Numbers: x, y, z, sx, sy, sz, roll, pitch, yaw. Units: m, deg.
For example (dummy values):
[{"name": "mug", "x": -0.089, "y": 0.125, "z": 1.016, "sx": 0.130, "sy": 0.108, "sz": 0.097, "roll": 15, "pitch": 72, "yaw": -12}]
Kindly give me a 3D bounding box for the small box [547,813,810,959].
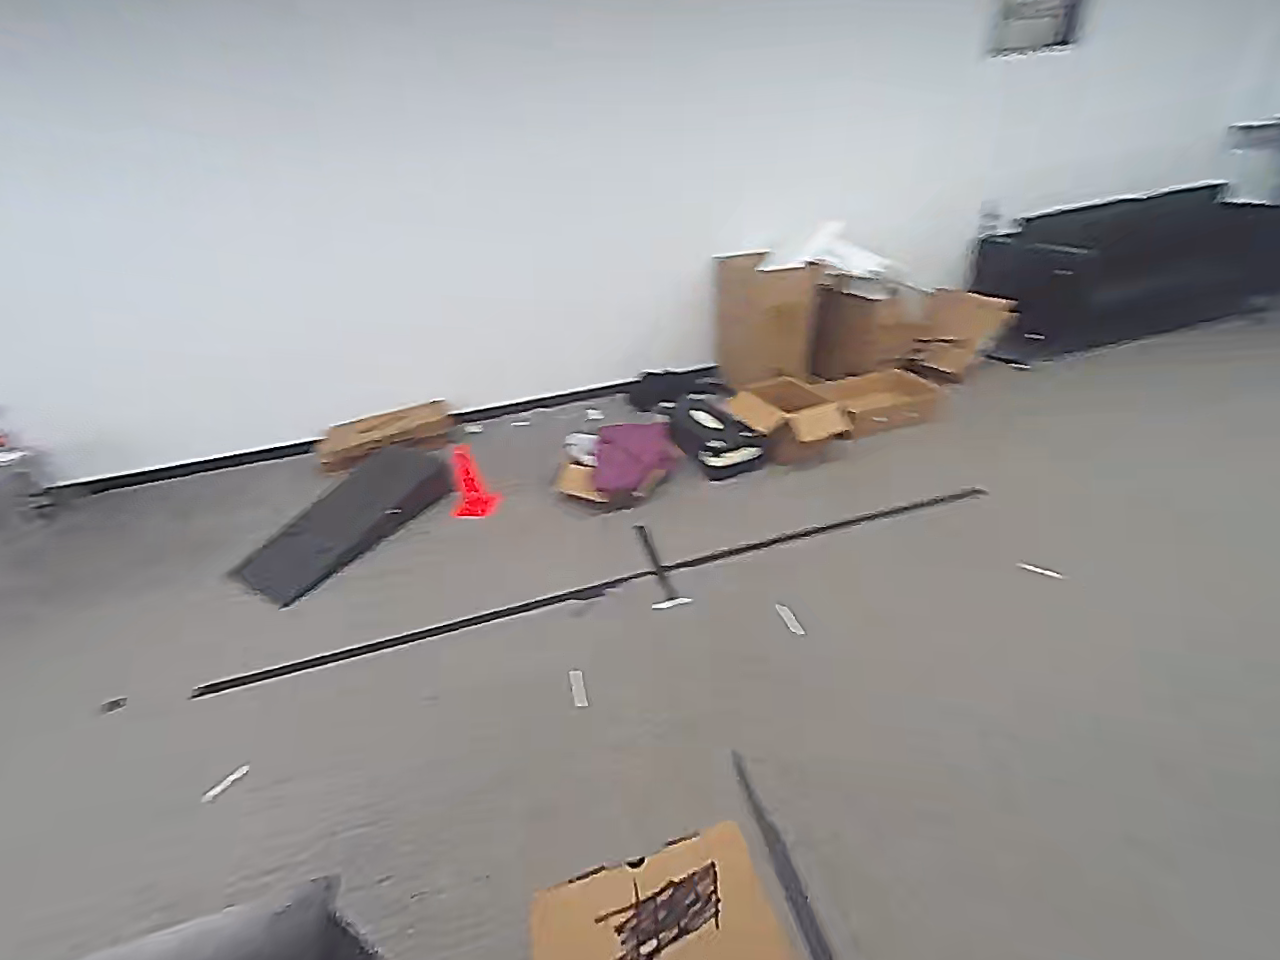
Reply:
[{"name": "small box", "x": 0.034, "y": 0.389, "z": 0.393, "sx": 0.168, "sy": 0.176, "sz": 0.179, "roll": -12, "pitch": 39, "yaw": -11}]
